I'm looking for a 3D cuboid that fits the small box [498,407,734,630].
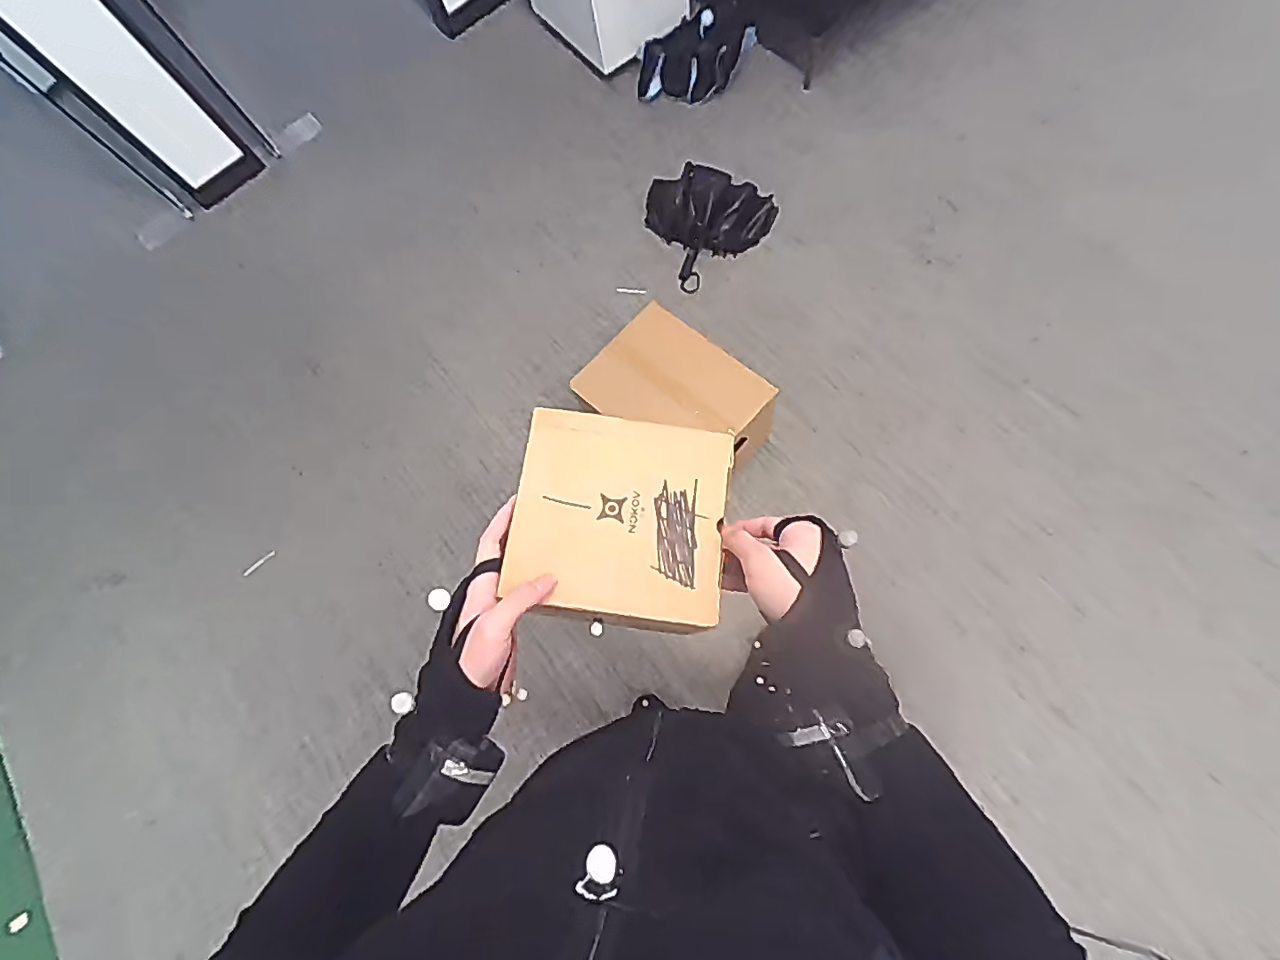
[{"bbox_3d":[-0.019,0.050,0.520,0.179,0.176,0.168,8,72,-1],"label":"small box"}]
